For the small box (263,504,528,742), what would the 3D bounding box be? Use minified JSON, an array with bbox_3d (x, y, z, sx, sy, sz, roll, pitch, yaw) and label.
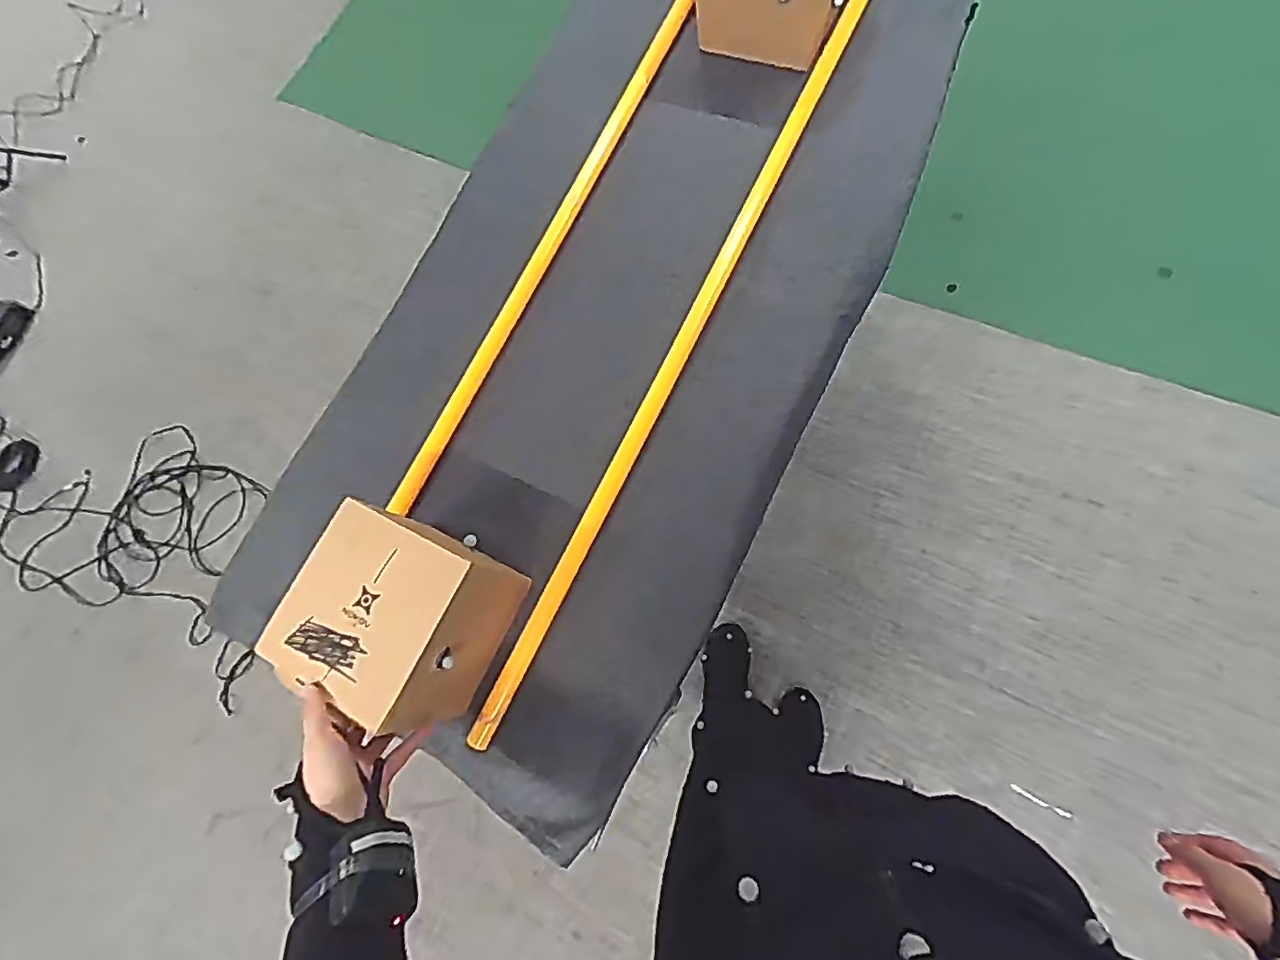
[{"bbox_3d":[-0.249,0.154,0.599,0.168,0.176,0.179,24,78,15],"label":"small box"}]
